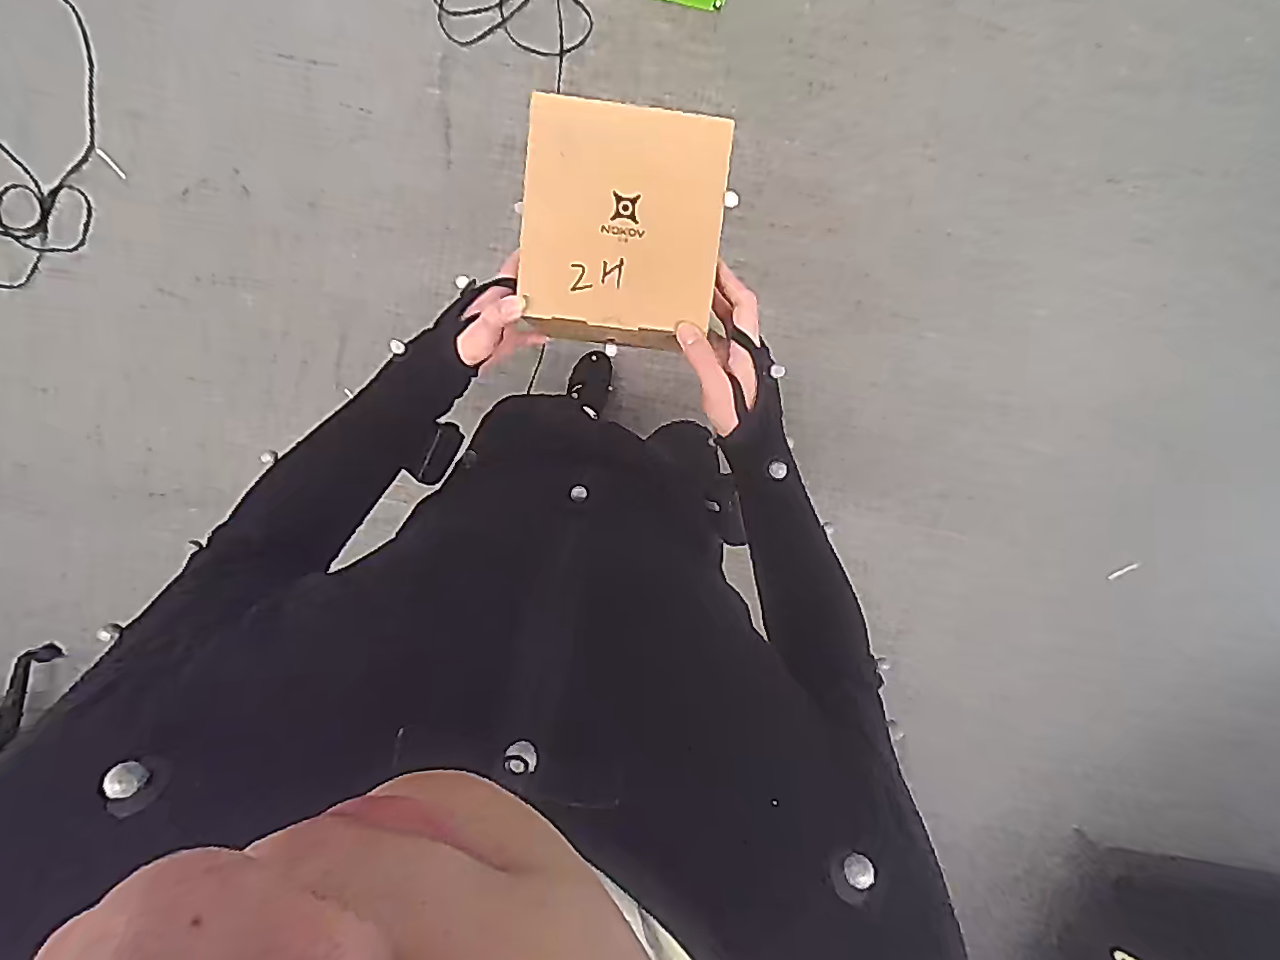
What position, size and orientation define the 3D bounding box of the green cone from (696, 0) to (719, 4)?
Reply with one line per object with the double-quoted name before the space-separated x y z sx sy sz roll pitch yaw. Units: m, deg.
"green cone" 0.121 -1.240 1.133 0.202 0.368 0.200 11 102 -1
